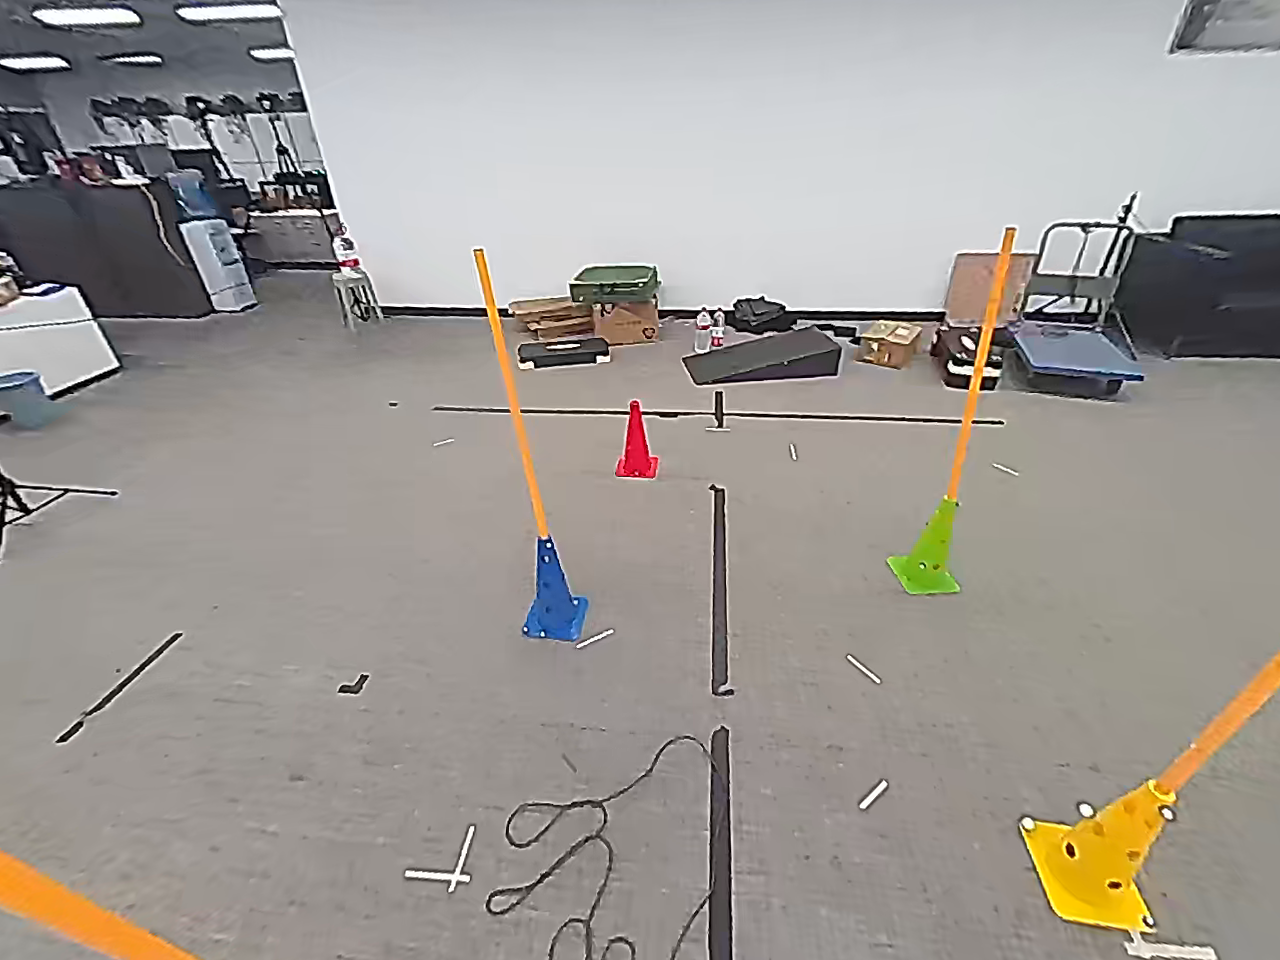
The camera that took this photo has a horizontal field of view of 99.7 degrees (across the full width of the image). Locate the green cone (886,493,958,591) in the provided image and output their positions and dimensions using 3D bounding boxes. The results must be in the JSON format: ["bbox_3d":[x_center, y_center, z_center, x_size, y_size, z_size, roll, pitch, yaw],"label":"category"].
[{"bbox_3d":[1.053,0.200,1.936,0.200,0.368,0.202,-4,35,-3],"label":"green cone"}]

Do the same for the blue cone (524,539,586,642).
[{"bbox_3d":[-0.297,0.344,1.792,0.193,0.380,0.192,4,34,8],"label":"blue cone"}]
